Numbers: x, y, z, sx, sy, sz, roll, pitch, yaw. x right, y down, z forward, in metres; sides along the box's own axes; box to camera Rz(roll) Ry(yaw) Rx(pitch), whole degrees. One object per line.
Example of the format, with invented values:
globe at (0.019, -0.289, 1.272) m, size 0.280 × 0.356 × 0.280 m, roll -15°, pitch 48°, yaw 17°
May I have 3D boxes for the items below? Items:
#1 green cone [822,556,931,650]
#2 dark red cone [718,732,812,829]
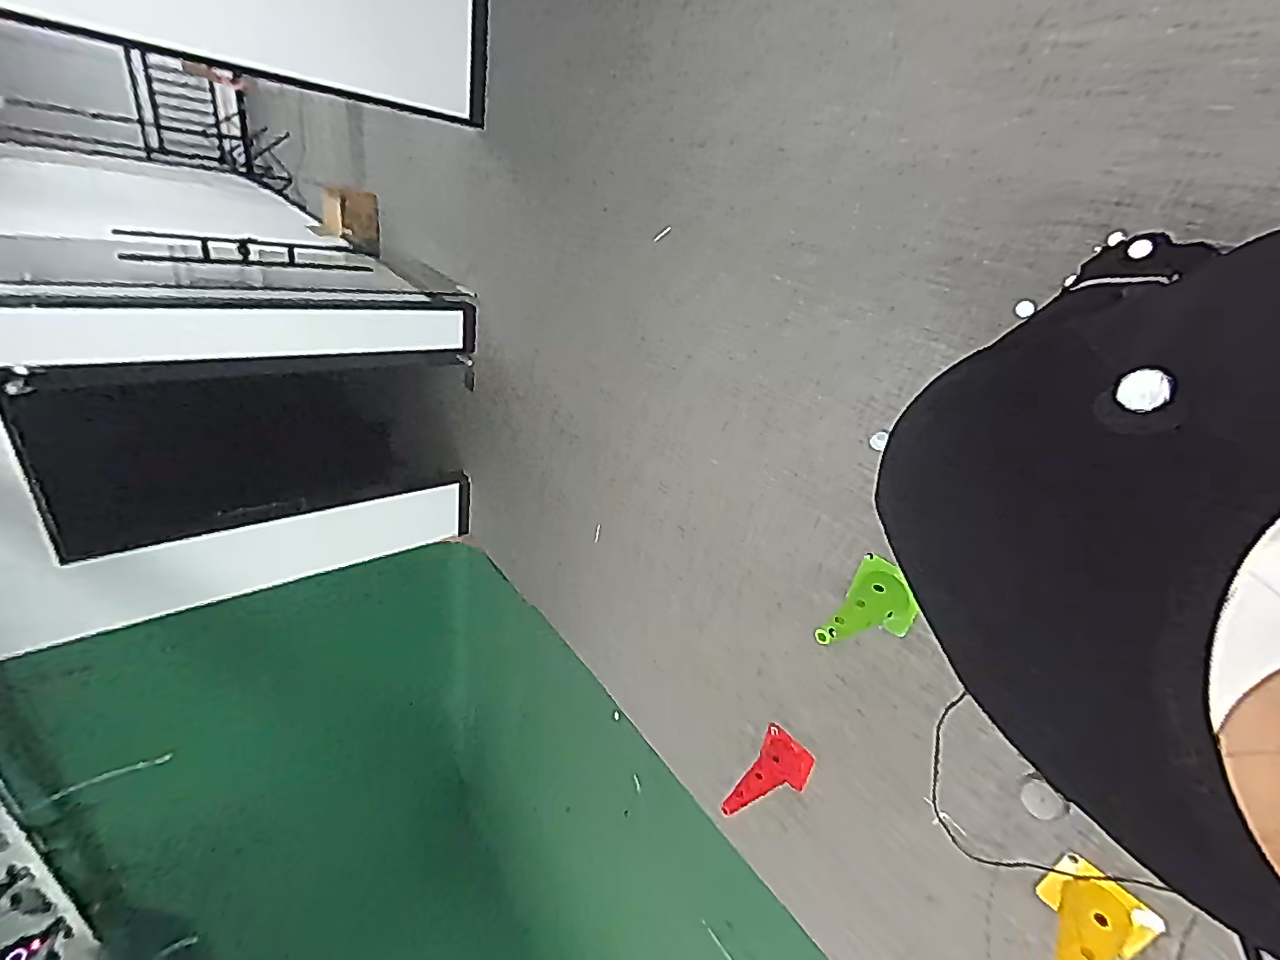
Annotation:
green cone at (0.615, 0.386, 1.510) m, size 0.202 × 0.368 × 0.200 m, roll 35°, pitch 126°, yaw 38°
dark red cone at (0.418, 1.101, 1.920) m, size 0.202 × 0.394 × 0.201 m, roll 32°, pitch 125°, yaw 41°
